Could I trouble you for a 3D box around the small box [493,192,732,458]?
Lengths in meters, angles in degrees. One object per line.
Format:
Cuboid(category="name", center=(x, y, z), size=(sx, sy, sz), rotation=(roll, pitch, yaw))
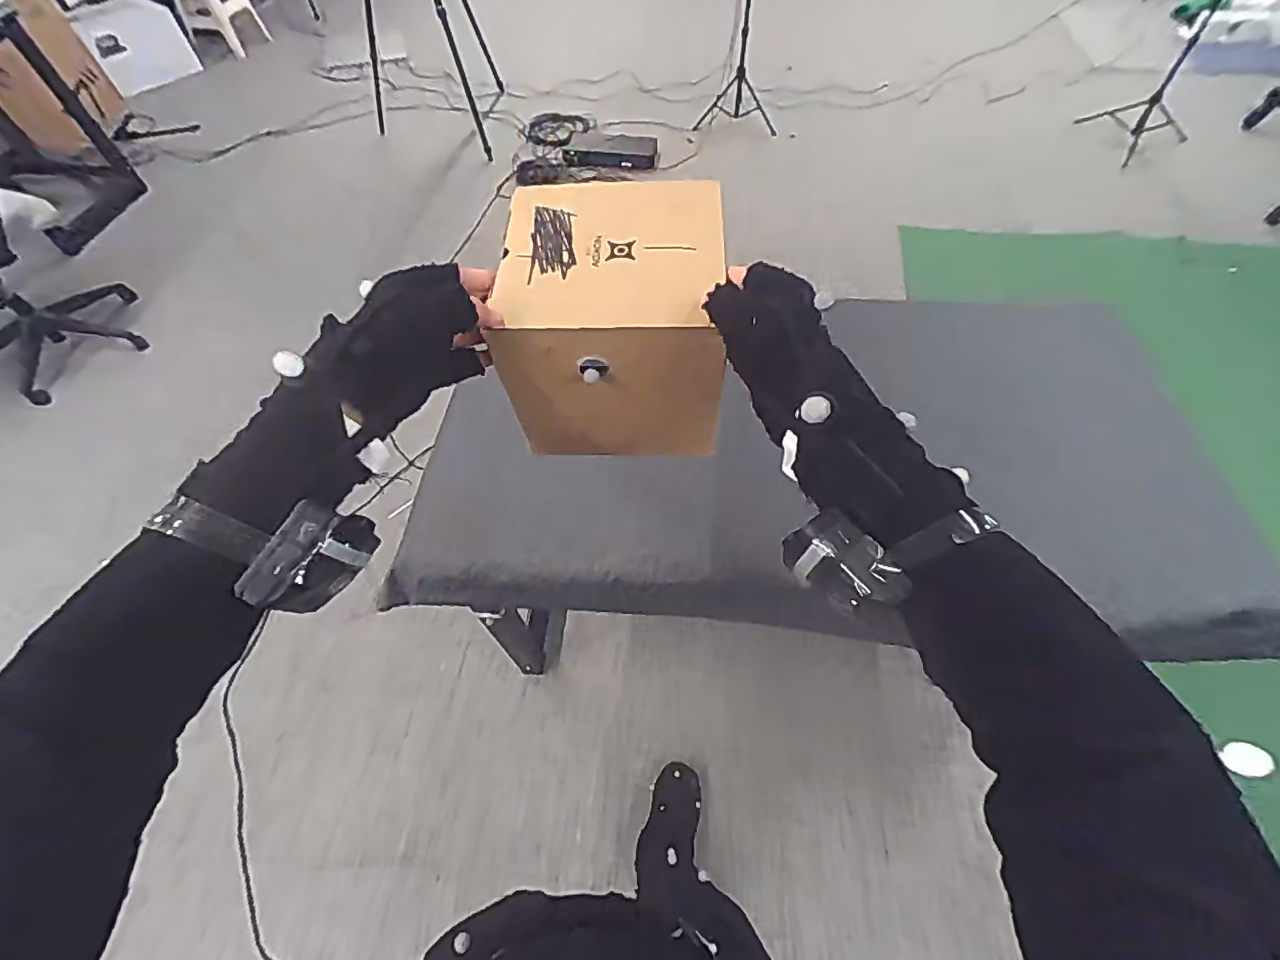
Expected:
Cuboid(category="small box", center=(-0.012, -0.131, 0.491), size=(0.179, 0.176, 0.168), rotation=(0, 61, 4))
